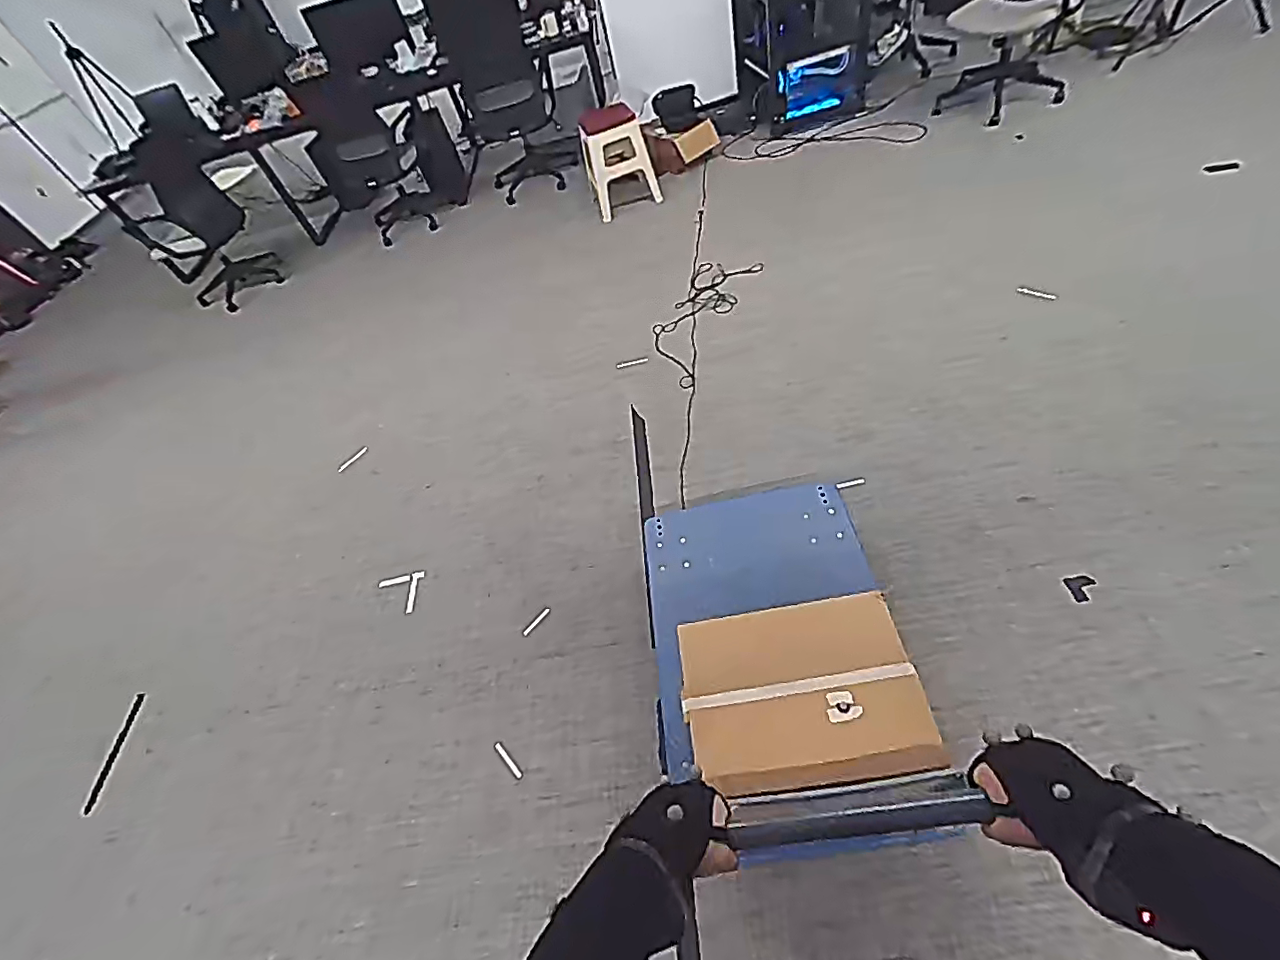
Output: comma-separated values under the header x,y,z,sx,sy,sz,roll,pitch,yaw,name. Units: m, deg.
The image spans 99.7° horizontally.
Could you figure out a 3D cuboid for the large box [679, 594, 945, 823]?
x,y,z,sx,sy,sz,roll,pitch,yaw,name
0.317,0.472,1.096,0.408,0.320,0.320,-12,51,6,large box
